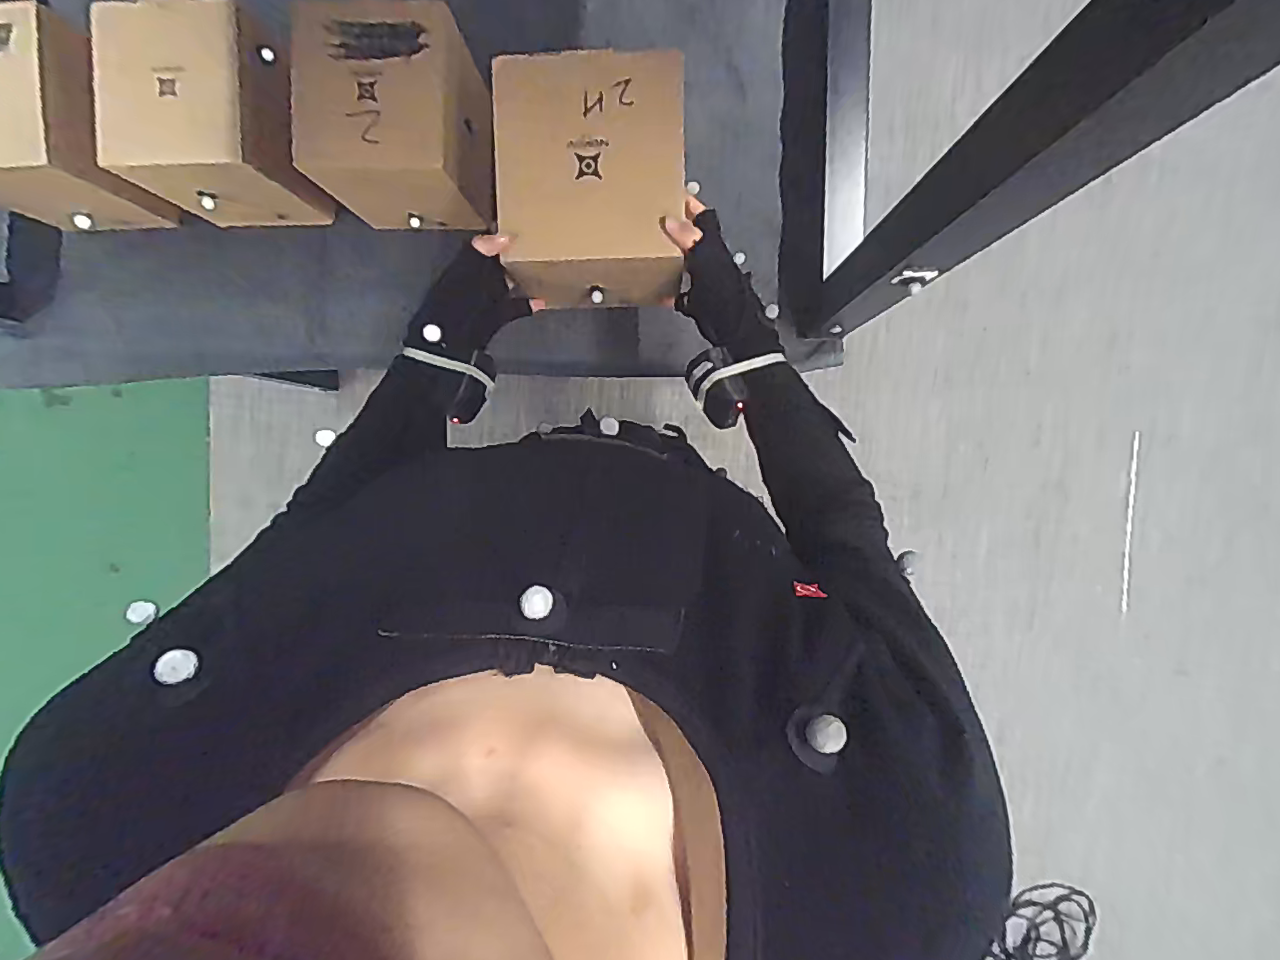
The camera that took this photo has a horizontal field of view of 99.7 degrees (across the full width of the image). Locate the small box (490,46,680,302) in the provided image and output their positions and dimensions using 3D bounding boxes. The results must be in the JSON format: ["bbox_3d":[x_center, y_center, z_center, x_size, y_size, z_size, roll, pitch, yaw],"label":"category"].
[{"bbox_3d":[-0.044,-0.284,0.544,0.168,0.176,0.179,-1,93,2],"label":"small box"}]

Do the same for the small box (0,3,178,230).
[{"bbox_3d":[-0.723,-0.433,0.669,0.168,0.176,0.179,-1,93,2],"label":"small box"}]
